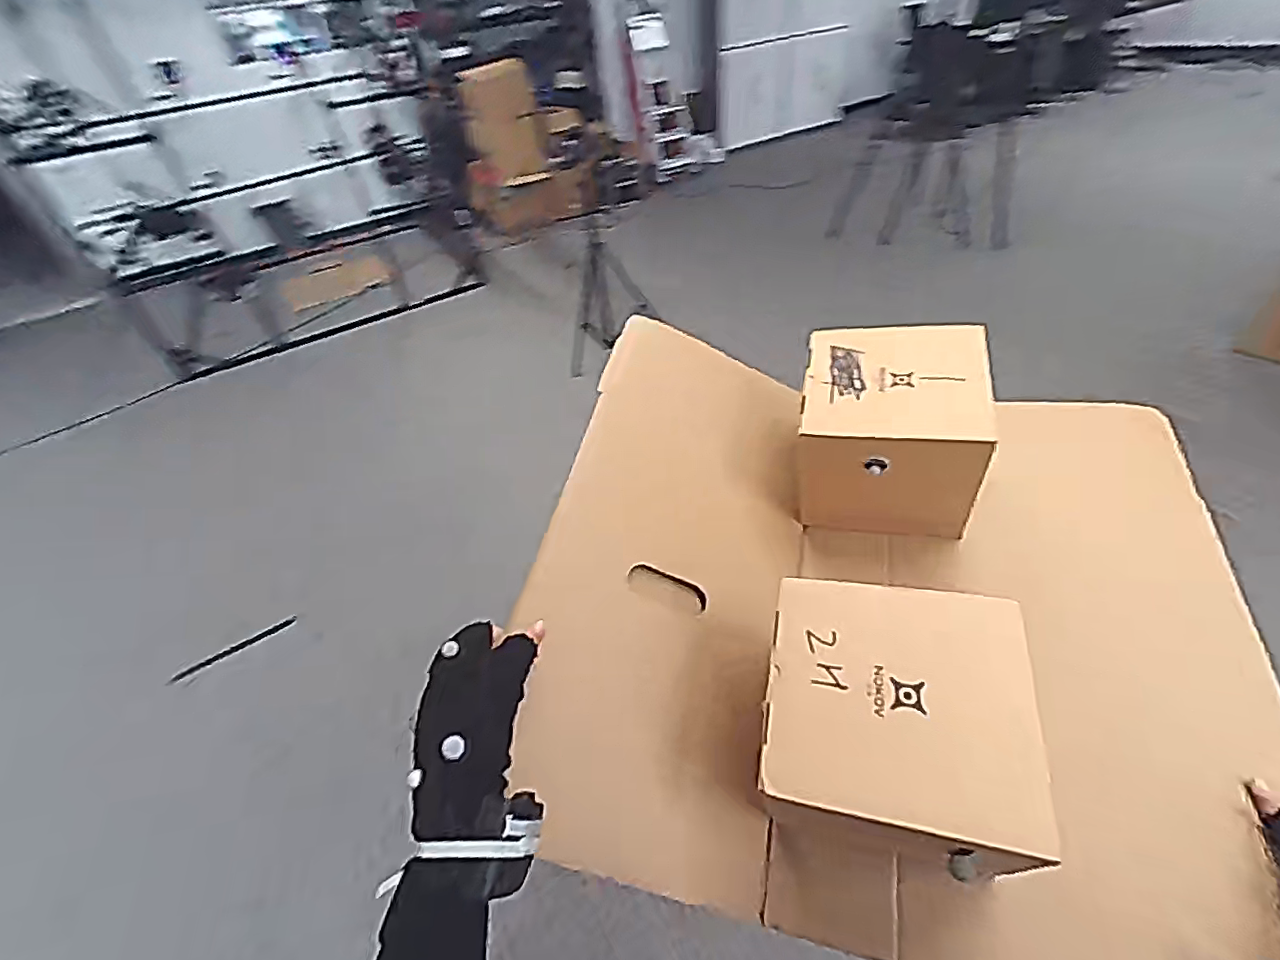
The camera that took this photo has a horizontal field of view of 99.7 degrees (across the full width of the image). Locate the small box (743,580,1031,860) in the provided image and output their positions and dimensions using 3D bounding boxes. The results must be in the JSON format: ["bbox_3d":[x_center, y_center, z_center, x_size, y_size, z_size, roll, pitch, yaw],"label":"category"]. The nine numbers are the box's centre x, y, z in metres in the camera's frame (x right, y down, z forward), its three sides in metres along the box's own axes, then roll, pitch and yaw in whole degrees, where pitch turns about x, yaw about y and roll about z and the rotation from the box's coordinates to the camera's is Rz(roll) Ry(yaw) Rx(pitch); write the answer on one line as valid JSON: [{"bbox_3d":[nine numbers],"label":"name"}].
[{"bbox_3d":[0.193,0.202,0.457,0.179,0.176,0.168,1,53,21],"label":"small box"}]
